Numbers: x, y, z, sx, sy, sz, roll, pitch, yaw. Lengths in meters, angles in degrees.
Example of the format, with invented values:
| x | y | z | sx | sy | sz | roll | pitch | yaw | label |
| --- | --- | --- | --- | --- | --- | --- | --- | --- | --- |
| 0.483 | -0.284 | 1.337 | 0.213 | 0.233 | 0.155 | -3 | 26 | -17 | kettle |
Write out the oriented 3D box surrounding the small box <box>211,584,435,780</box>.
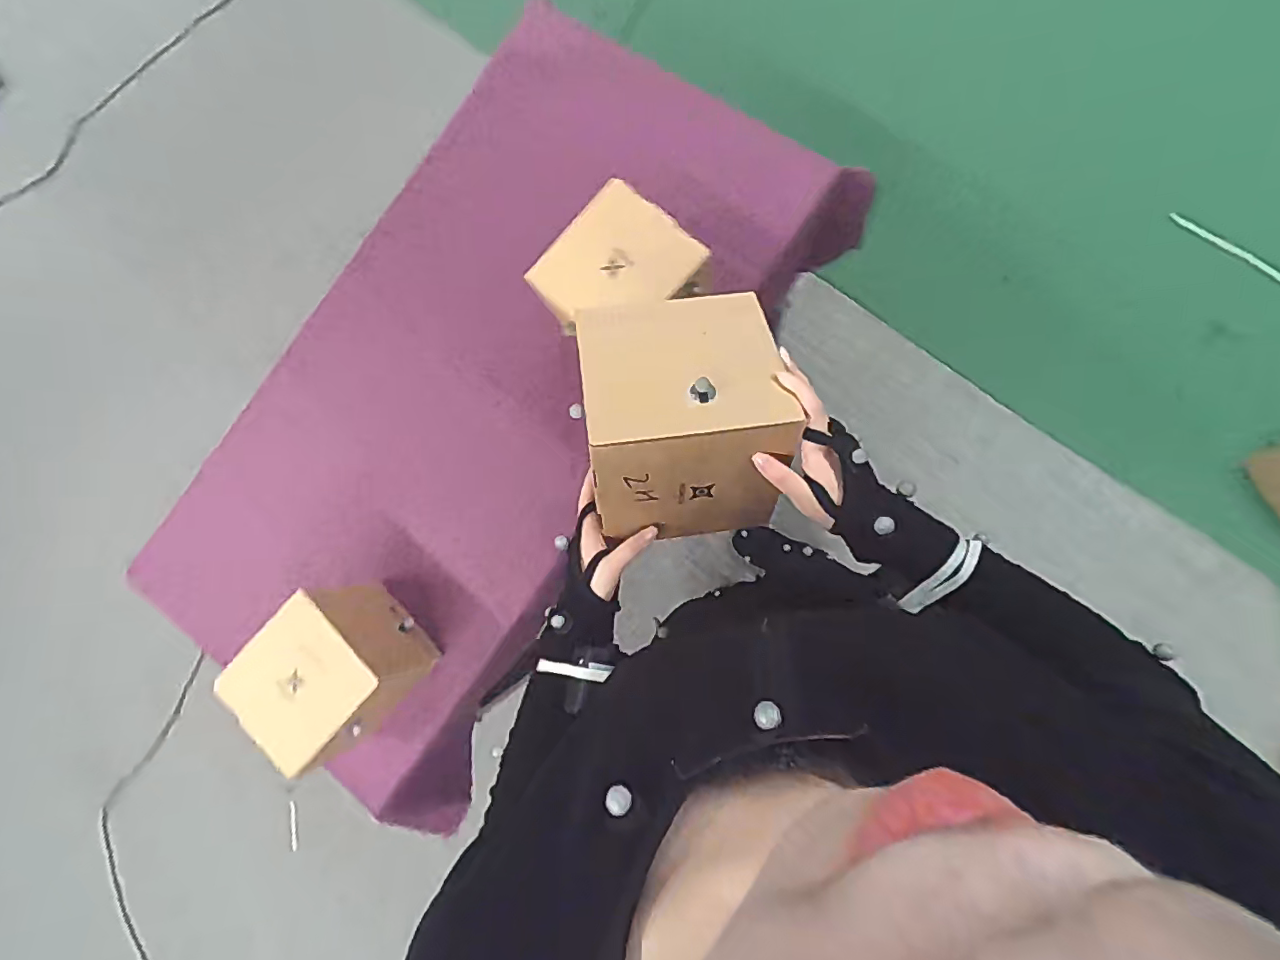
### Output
| x | y | z | sx | sy | sz | roll | pitch | yaw | label |
| --- | --- | --- | --- | --- | --- | --- | --- | --- | --- |
| -0.430 | 0.268 | 0.762 | 0.168 | 0.176 | 0.179 | 43 | 91 | 10 | small box |

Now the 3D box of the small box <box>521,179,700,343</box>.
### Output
| x | y | z | sx | sy | sz | roll | pitch | yaw | label |
| --- | --- | --- | --- | --- | --- | --- | --- | --- | --- |
| -0.028 | -0.262 | 0.757 | 0.168 | 0.176 | 0.179 | 42 | 91 | 10 | small box |

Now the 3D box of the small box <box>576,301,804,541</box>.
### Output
| x | y | z | sx | sy | sz | roll | pitch | yaw | label |
| --- | --- | --- | --- | --- | --- | --- | --- | --- | --- |
| 0.034 | -0.058 | 0.532 | 0.179 | 0.168 | 0.176 | -5 | 56 | -4 | small box |
